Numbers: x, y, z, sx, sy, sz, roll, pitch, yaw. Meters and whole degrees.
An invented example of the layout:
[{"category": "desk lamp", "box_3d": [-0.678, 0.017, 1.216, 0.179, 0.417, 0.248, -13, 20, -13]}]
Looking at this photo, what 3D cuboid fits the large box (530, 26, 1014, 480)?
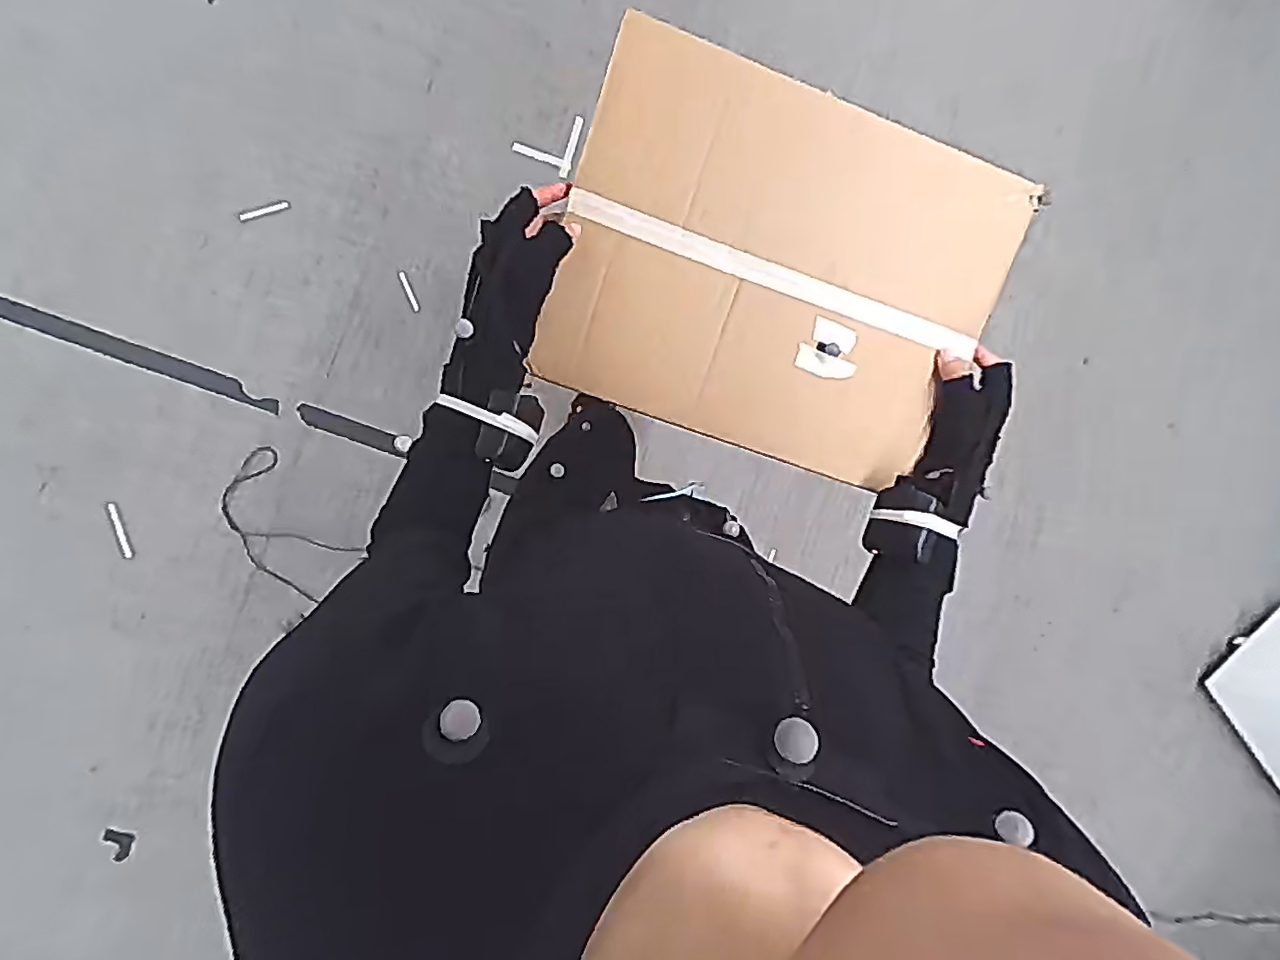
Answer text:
[{"category": "large box", "box_3d": [0.114, -0.227, 0.662, 0.408, 0.320, 0.320, 18, 101, -8]}]
